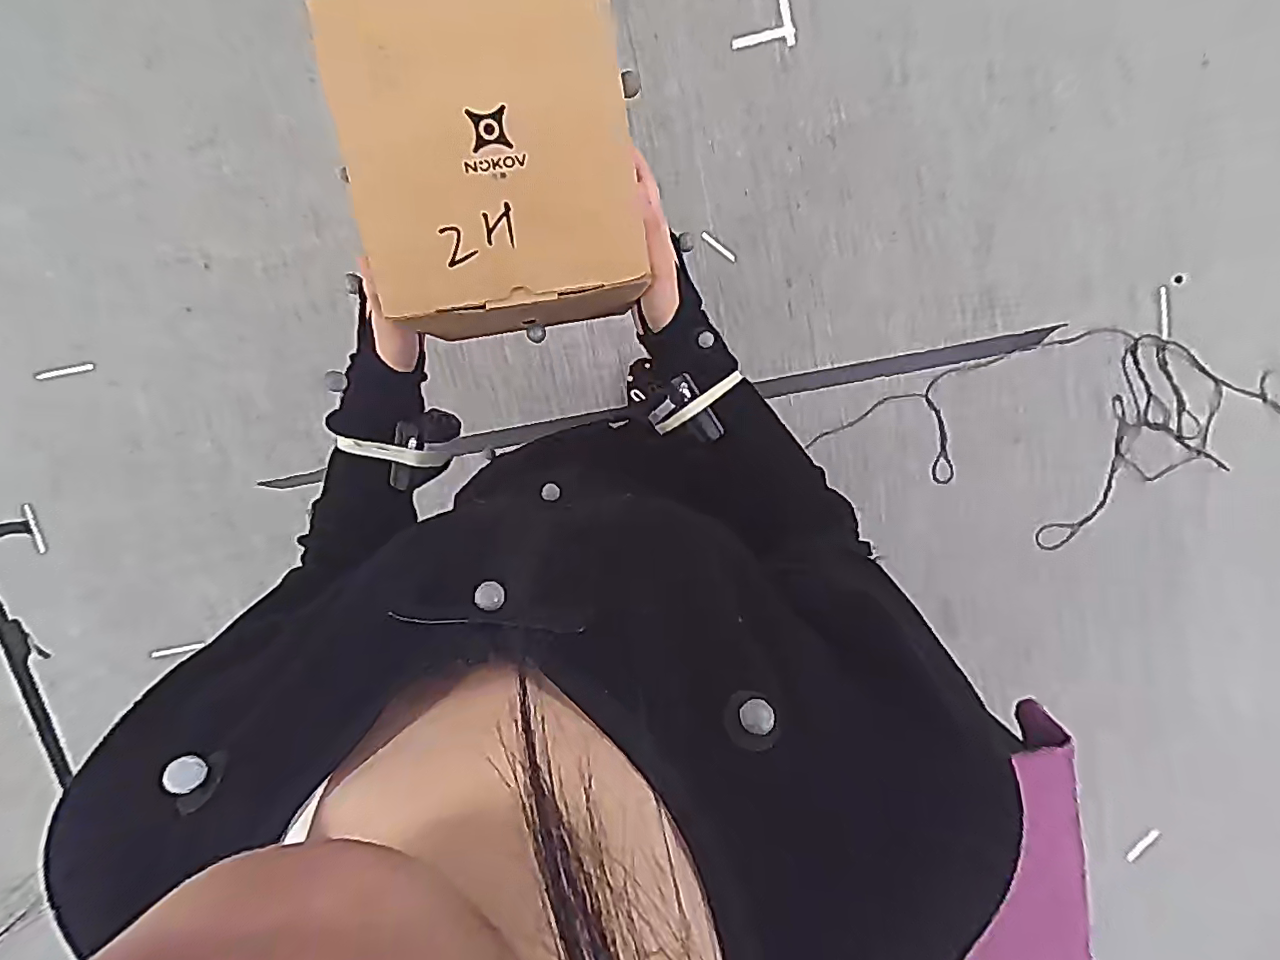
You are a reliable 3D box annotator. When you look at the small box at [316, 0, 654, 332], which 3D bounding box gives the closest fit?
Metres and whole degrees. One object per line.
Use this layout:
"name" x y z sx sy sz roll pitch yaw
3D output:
"small box" -0.093 -0.213 0.388 0.168 0.176 0.179 -11 102 -5
